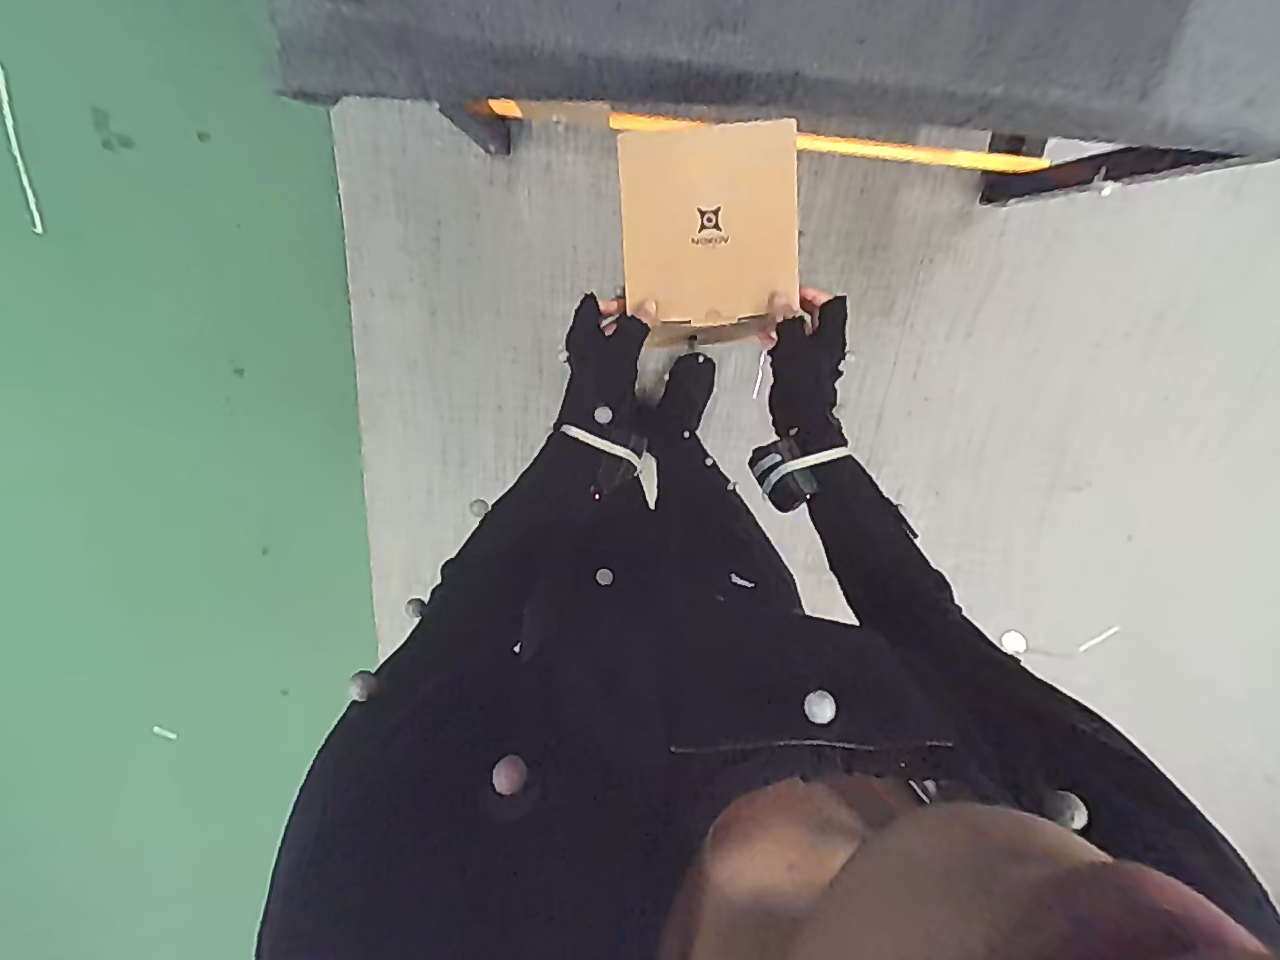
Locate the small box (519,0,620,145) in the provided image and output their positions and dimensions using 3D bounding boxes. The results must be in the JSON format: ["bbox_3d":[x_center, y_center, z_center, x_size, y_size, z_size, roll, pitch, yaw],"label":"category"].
[{"bbox_3d":[-0.123,-0.729,0.974,0.168,0.176,0.179,3,112,-3],"label":"small box"}]
